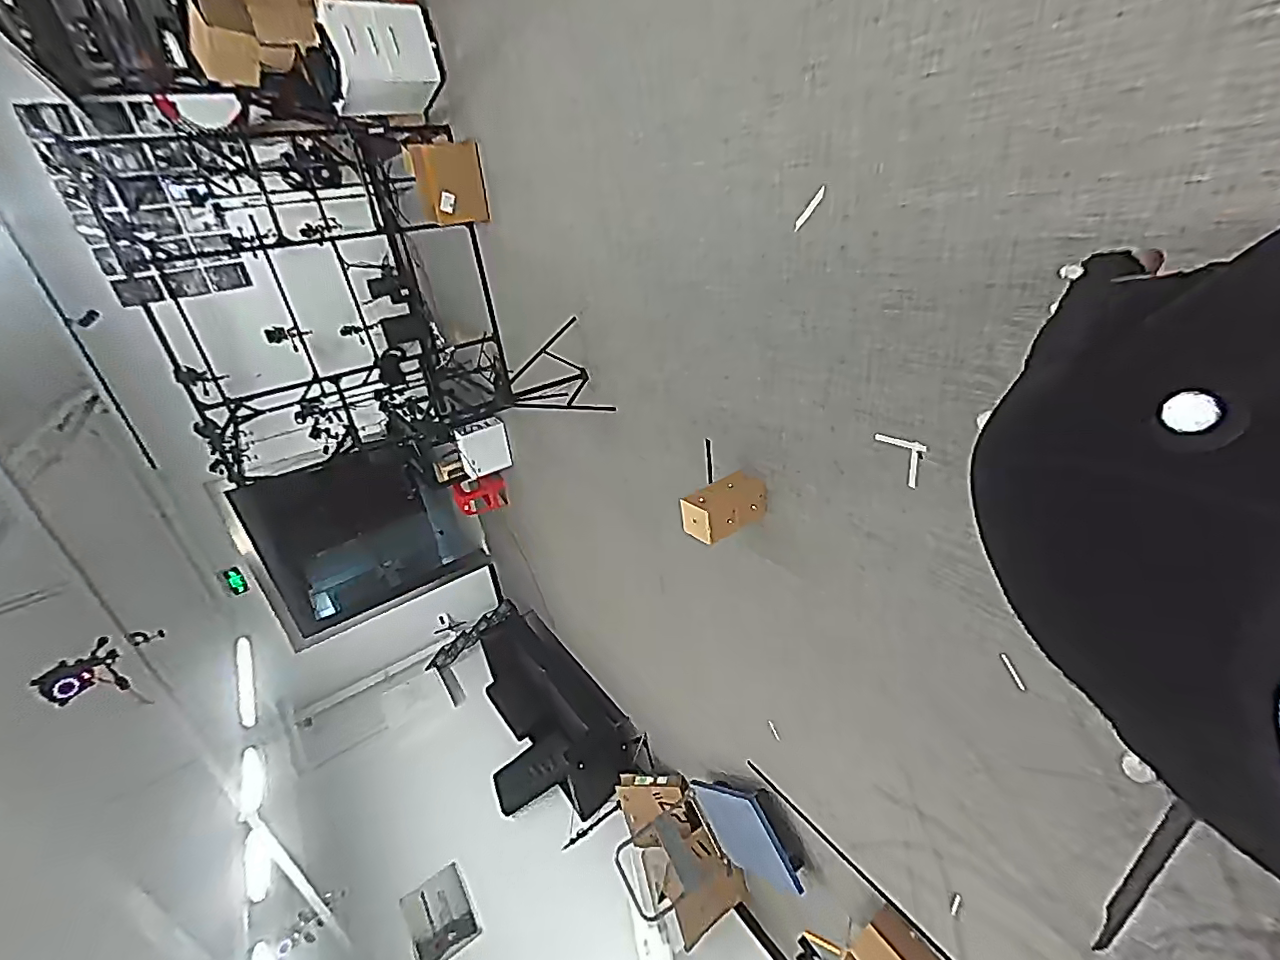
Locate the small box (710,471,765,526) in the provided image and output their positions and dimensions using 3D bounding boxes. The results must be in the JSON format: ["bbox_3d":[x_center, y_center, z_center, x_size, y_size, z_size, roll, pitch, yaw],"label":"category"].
[{"bbox_3d":[0.437,0.075,2.380,0.179,0.176,0.168,26,132,52],"label":"small box"}]

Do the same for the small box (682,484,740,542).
[{"bbox_3d":[0.304,0.134,2.305,0.179,0.176,0.168,26,132,50],"label":"small box"}]
